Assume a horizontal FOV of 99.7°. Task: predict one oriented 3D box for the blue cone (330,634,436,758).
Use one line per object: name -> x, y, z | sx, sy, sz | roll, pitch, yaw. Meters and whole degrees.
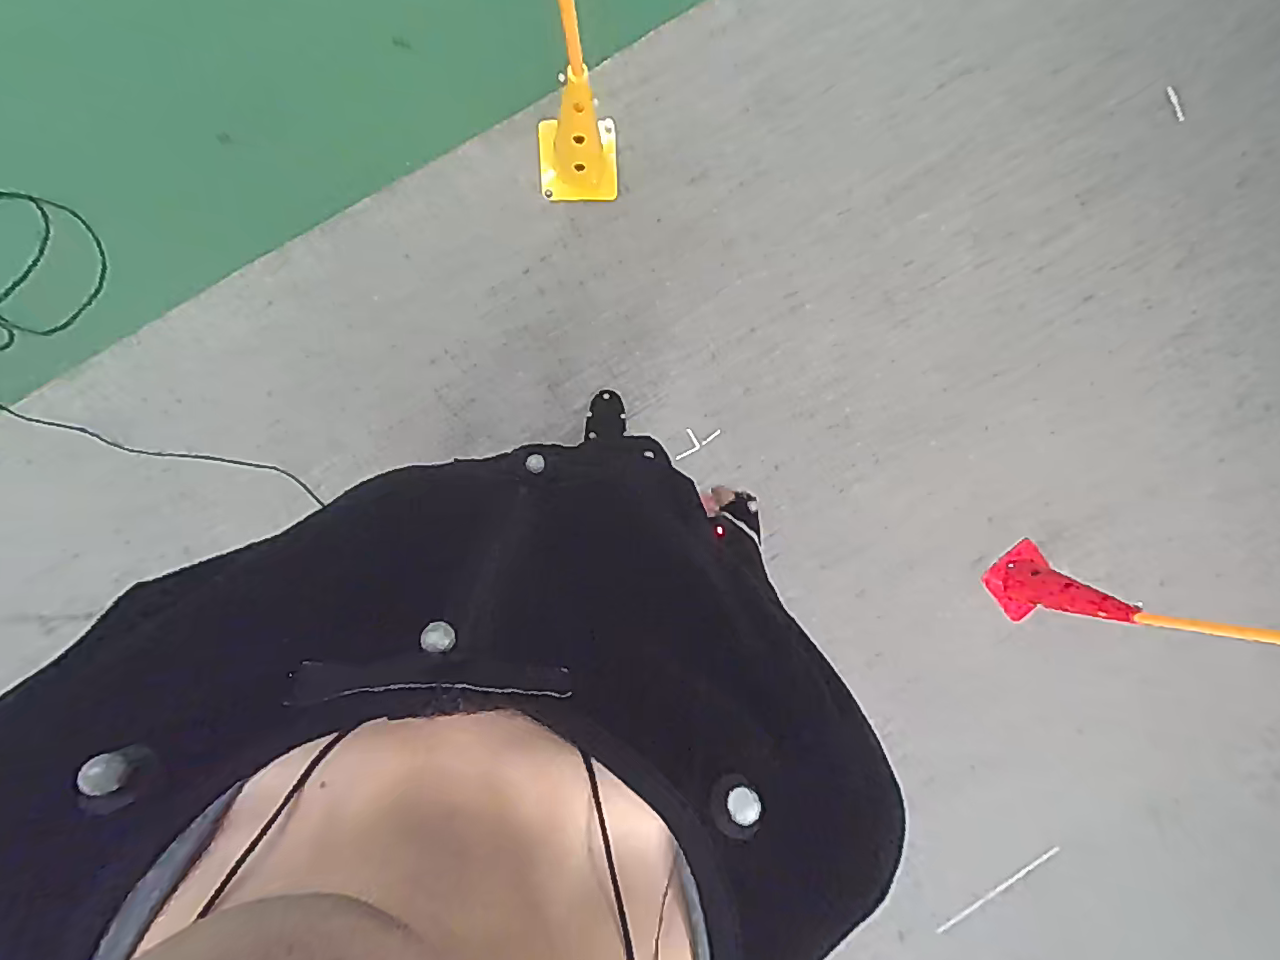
blue cone -> -0.634, 0.534, 1.296 | 0.192, 0.380, 0.193 | 13, 96, -9
